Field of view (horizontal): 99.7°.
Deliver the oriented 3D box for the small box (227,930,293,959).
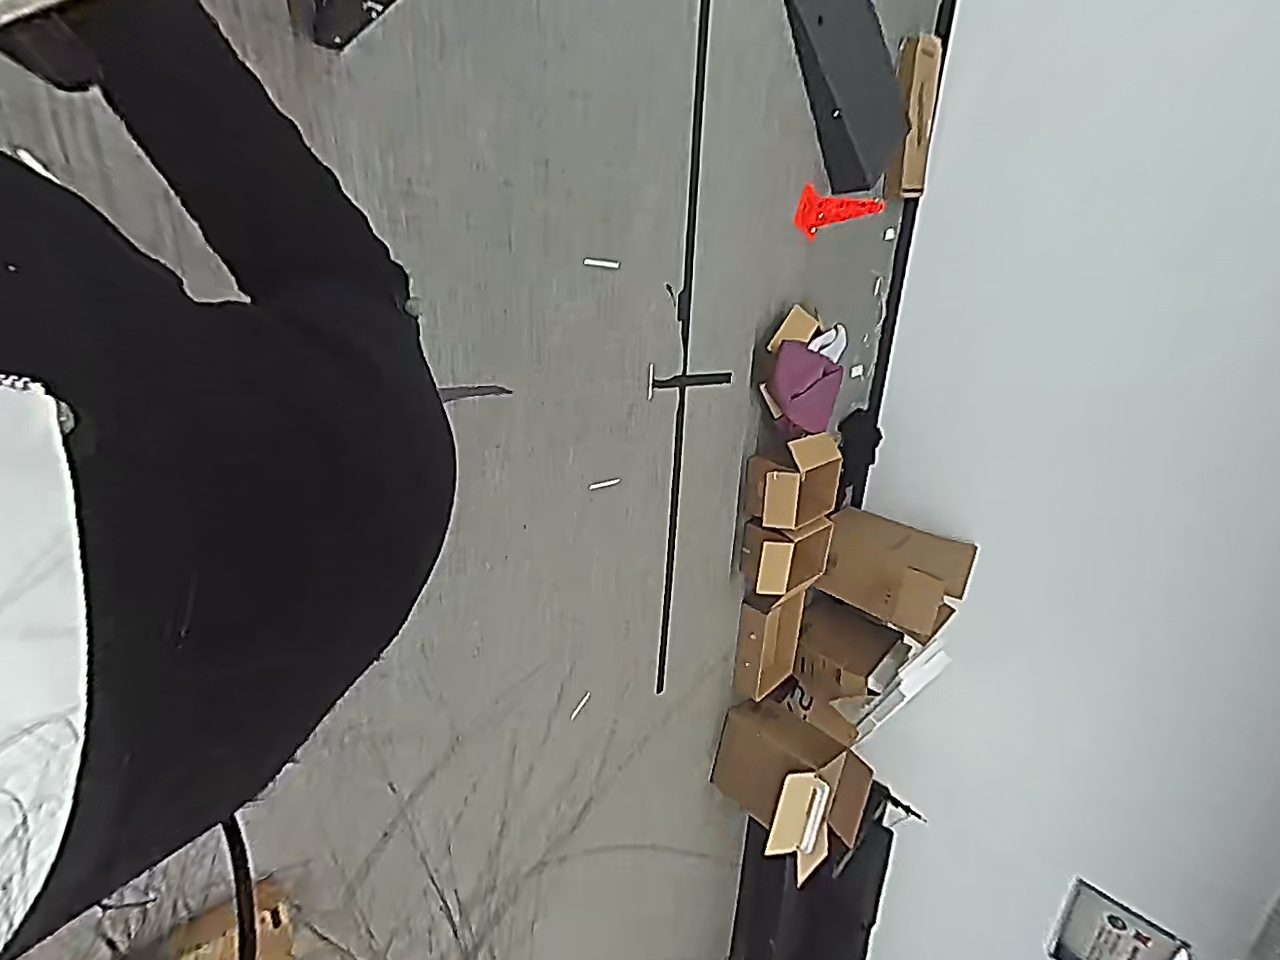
[{"bbox_3d":[-1.019,1.377,1.447,0.168,0.176,0.179,-15,116,-42],"label":"small box"}]
